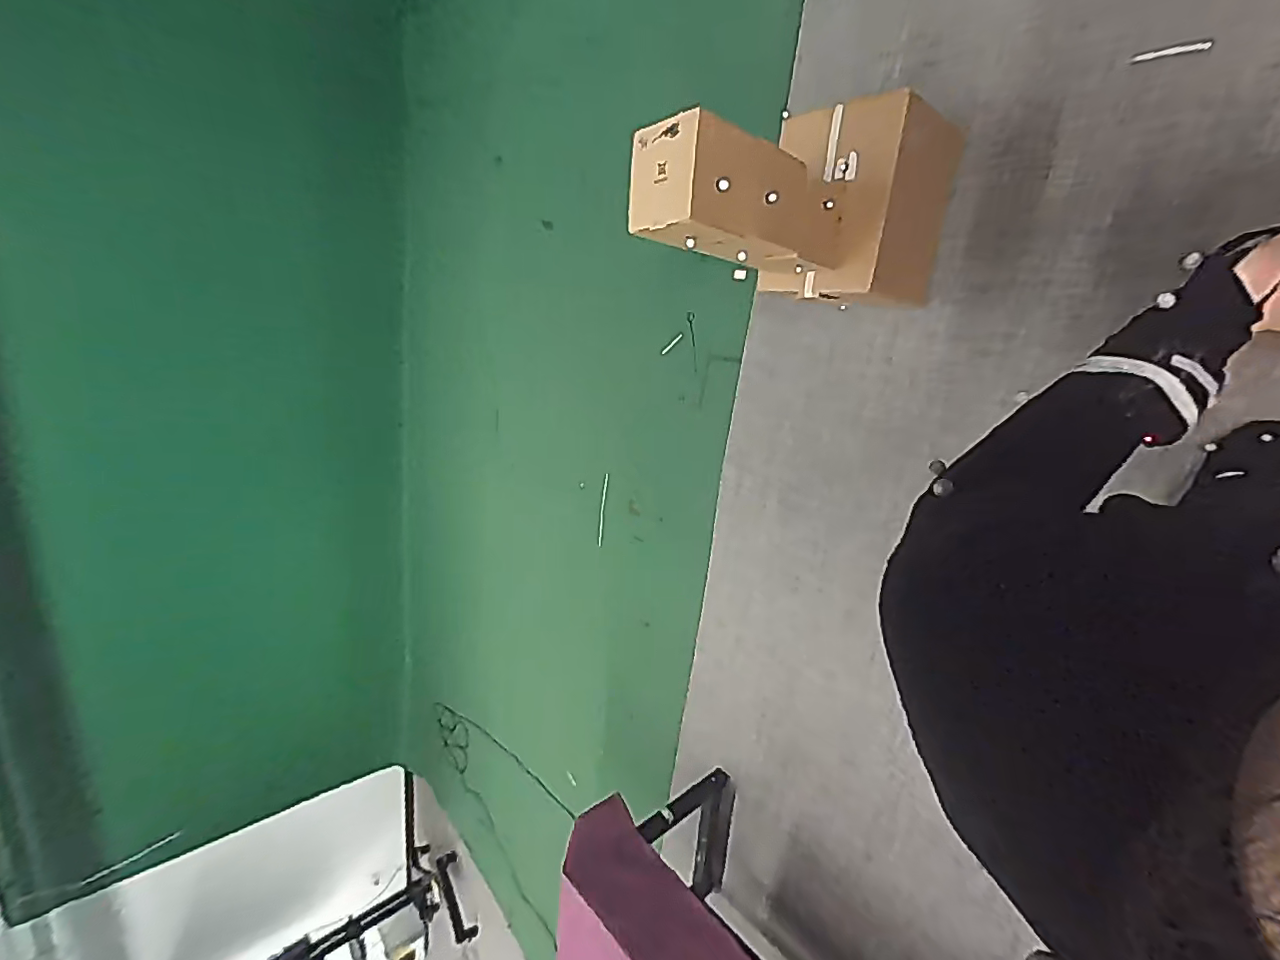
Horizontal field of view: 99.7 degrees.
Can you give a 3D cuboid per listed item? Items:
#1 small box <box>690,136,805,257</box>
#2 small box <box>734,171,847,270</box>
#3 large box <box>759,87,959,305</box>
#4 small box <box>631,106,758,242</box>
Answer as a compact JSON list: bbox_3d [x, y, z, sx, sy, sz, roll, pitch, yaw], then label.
[{"bbox_3d":[0.223,-0.569,1.116,0.168,0.176,0.179,15,105,46],"label":"small box"},{"bbox_3d":[0.343,-0.579,1.227,0.179,0.176,0.168,21,110,46],"label":"small box"},{"bbox_3d":[0.542,-0.666,1.358,0.320,0.320,0.408,21,111,44],"label":"large box"},{"bbox_3d":[0.102,-0.551,1.006,0.168,0.176,0.179,17,109,45],"label":"small box"}]
